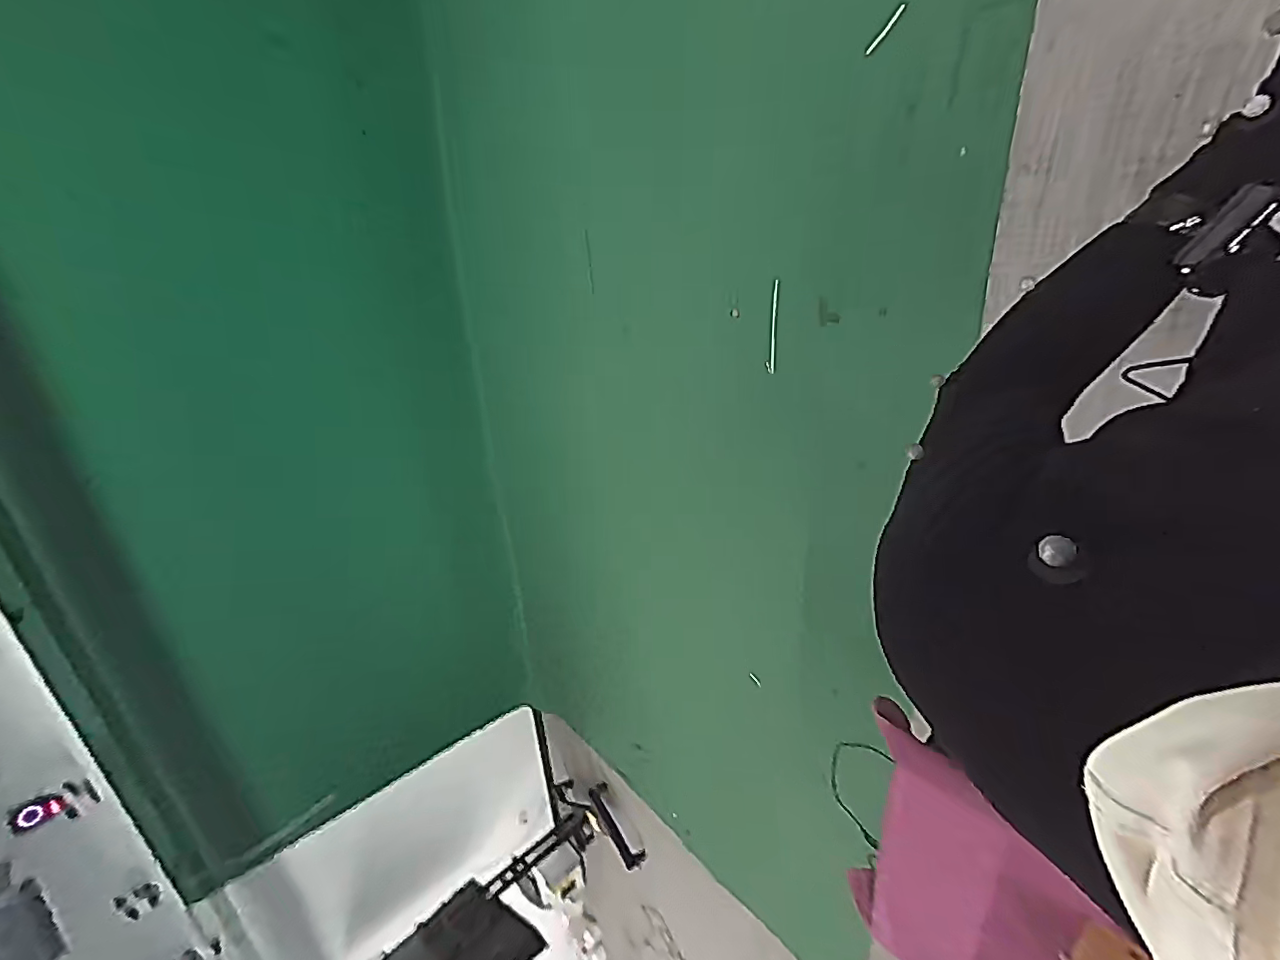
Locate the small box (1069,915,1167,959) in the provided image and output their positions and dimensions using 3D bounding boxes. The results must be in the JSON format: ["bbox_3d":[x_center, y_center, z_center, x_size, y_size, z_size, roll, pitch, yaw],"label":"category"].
[{"bbox_3d":[0.783,0.869,0.867,0.168,0.176,0.179,21,124,45],"label":"small box"}]
